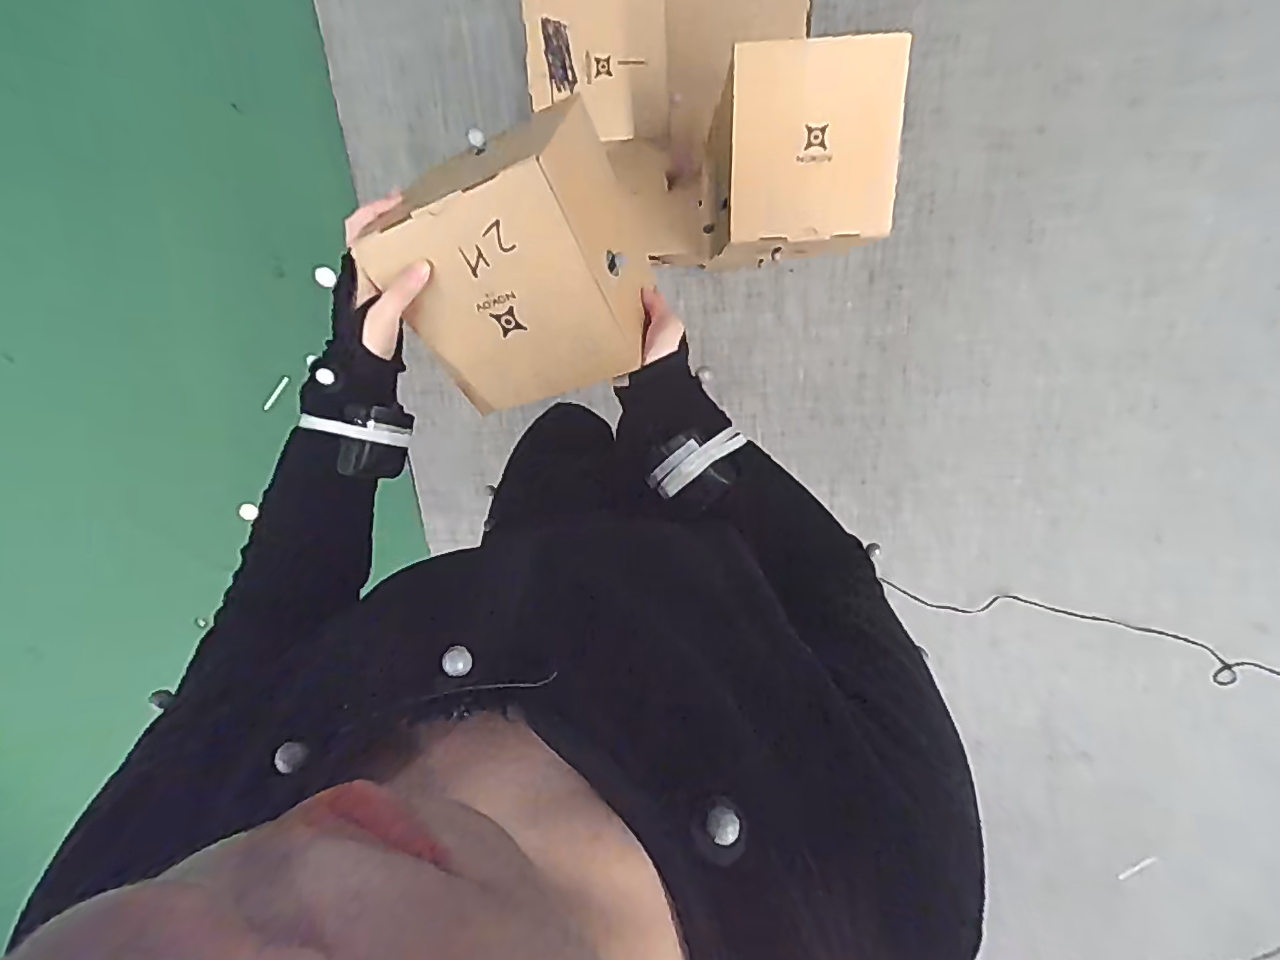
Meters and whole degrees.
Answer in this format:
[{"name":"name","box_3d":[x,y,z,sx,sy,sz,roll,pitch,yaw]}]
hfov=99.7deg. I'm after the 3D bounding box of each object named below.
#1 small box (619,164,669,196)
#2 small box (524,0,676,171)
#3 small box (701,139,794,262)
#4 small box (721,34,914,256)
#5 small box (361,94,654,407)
[{"name":"small box","box_3d":[-0.037,-0.583,0.894,0.168,0.176,0.179,-1,107,5]},{"name":"small box","box_3d":[-0.043,-0.530,0.736,0.179,0.176,0.168,-1,108,6]},{"name":"small box","box_3d":[0.195,-0.467,0.915,0.179,0.176,0.168,-2,107,5]},{"name":"small box","box_3d":[0.181,-0.356,0.608,0.168,0.176,0.179,-1,108,4]},{"name":"small box","box_3d":[-0.093,-0.198,0.480,0.168,0.176,0.179,-12,134,19]}]
